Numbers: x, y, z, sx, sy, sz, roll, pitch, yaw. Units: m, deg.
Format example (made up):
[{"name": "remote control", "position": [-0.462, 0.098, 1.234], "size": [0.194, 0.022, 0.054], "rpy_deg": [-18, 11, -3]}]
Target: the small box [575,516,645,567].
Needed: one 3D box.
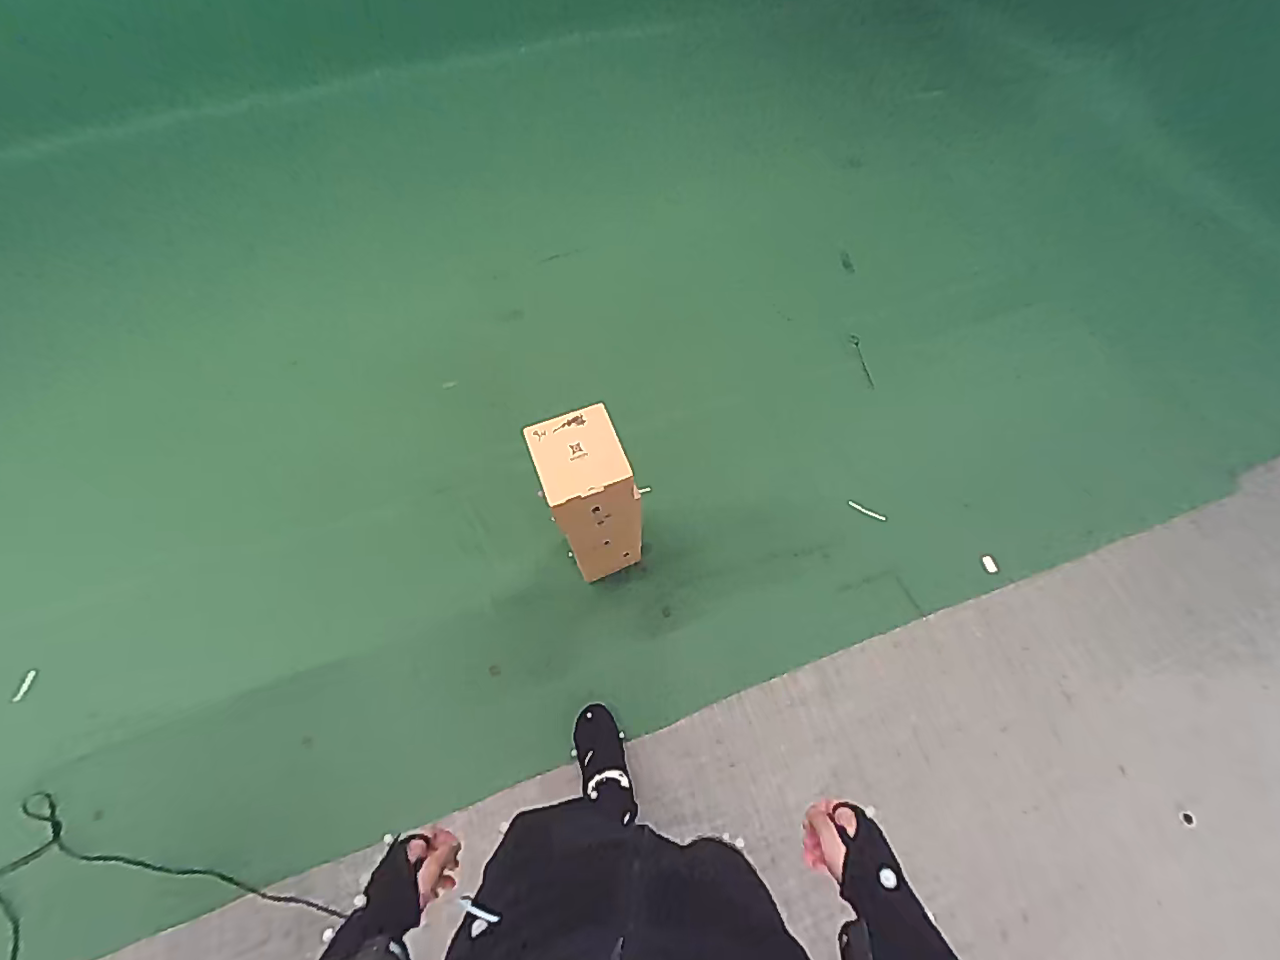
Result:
[{"name": "small box", "position": [-0.097, 0.104, 1.394], "size": [0.179, 0.176, 0.168], "rpy_deg": [-21, 67, -9]}]

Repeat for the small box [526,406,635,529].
[{"name": "small box", "position": [-0.113, -0.015, 1.088], "size": [0.168, 0.176, 0.179], "rpy_deg": [-19, 68, -9]}]

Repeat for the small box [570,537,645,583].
[{"name": "small box", "position": [-0.099, 0.173, 1.540], "size": [0.179, 0.176, 0.168], "rpy_deg": [-22, 67, -10]}]

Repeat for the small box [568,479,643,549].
[{"name": "small box", "position": [-0.102, 0.039, 1.243], "size": [0.179, 0.176, 0.168], "rpy_deg": [-23, 68, -10]}]
